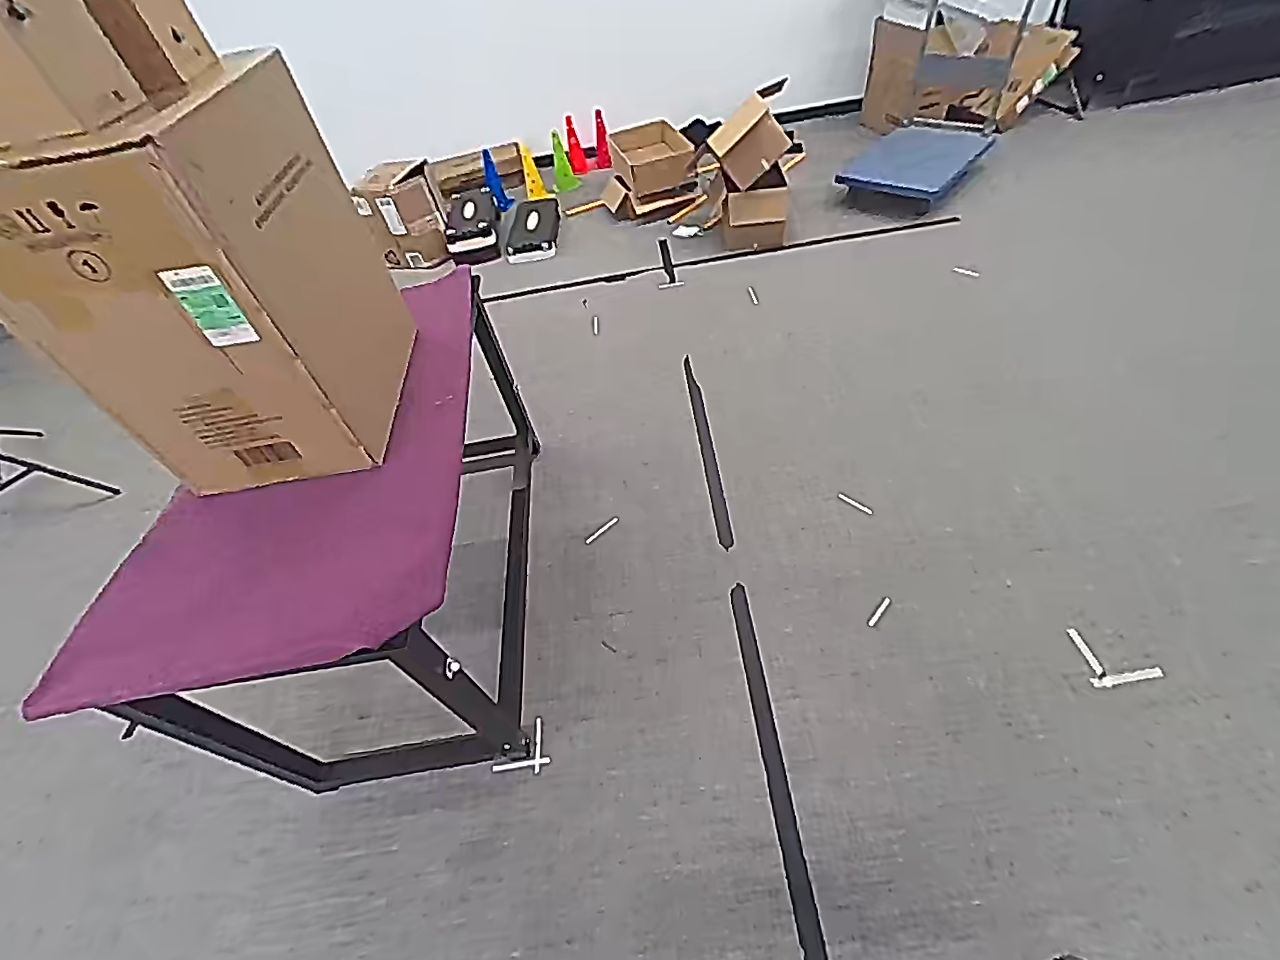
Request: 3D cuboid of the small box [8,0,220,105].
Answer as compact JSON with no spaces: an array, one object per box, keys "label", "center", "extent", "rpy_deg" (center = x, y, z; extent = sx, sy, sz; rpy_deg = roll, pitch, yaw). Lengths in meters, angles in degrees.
[{"label":"small box","center":[-0.845,-0.732,0.873],"extent":[0.179,0.176,0.168],"rpy_deg":[-11,49,-1]}]
